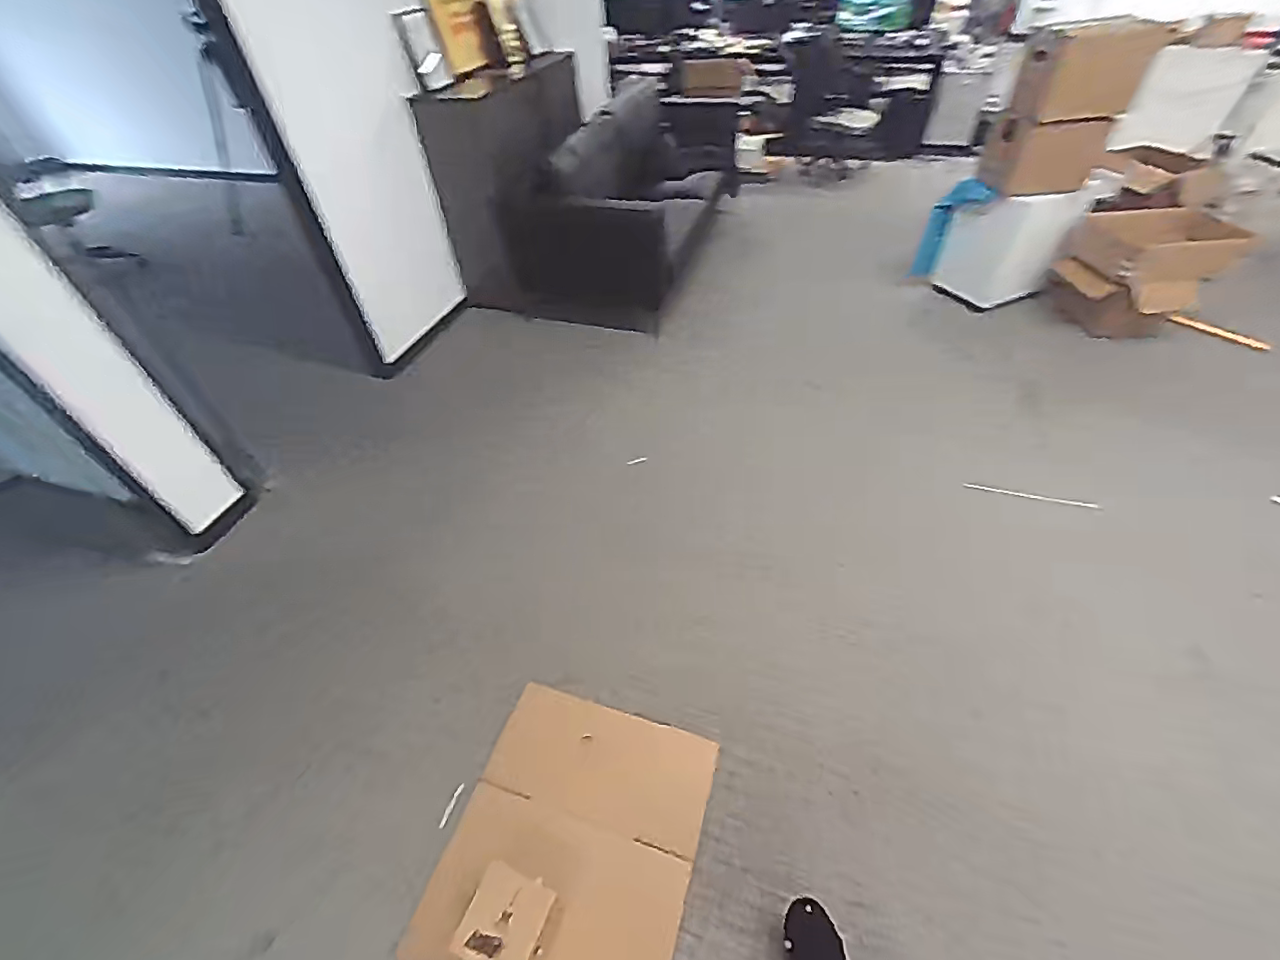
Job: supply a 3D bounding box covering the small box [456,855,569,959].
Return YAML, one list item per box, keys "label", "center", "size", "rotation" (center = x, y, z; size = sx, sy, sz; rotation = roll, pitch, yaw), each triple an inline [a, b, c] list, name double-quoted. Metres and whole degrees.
- label: "small box"
  center: [-0.273, 0.989, 1.211]
  size: [0.168, 0.176, 0.179]
  rotation: [15, 49, 18]
